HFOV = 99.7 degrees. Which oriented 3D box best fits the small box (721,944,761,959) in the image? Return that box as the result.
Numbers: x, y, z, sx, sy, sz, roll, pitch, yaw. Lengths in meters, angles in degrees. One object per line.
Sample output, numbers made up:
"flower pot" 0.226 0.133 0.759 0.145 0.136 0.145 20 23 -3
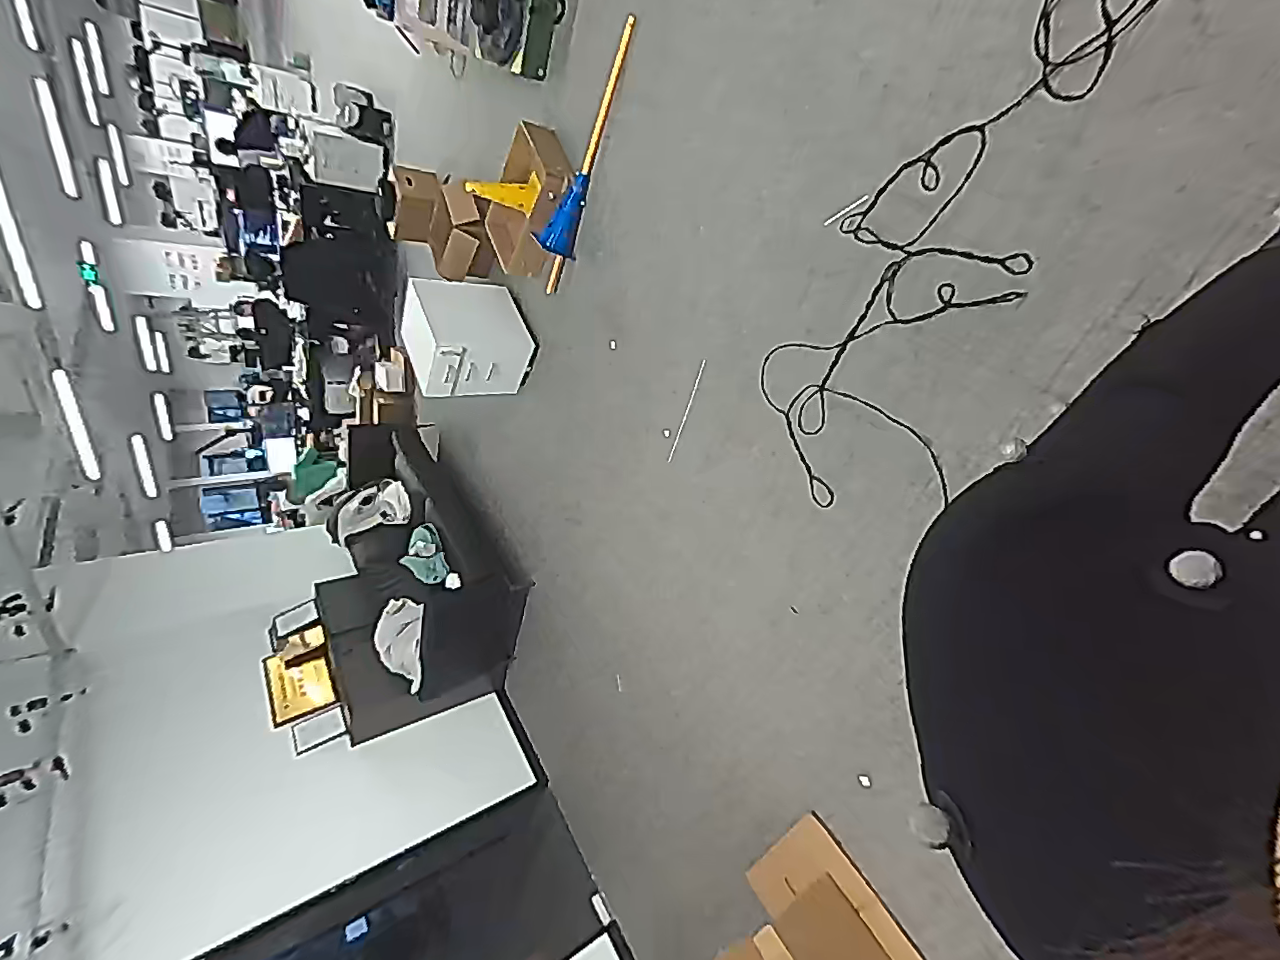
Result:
"small box" 0.320 1.643 1.736 0.179 0.176 0.168 51 134 33
